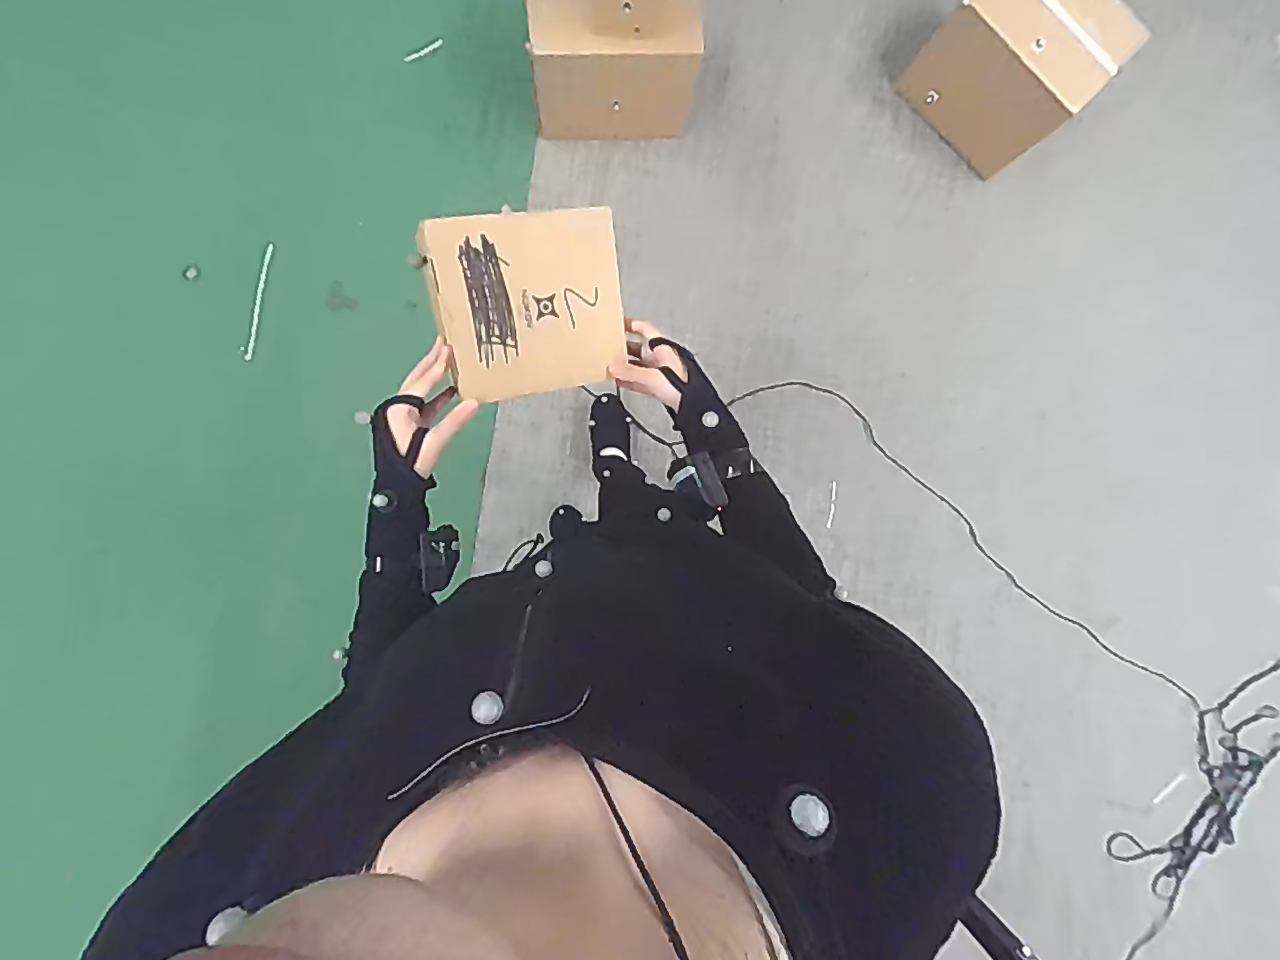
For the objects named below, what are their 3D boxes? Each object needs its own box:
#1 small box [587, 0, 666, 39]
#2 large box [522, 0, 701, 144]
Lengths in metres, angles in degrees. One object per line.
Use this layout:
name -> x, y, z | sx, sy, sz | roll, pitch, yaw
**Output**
small box -> -0.026, -1.084, 1.140 | 0.168, 0.176, 0.179 | 0, 90, -7
large box -> -0.081, -1.110, 1.382 | 0.408, 0.320, 0.320 | -5, 89, -5
